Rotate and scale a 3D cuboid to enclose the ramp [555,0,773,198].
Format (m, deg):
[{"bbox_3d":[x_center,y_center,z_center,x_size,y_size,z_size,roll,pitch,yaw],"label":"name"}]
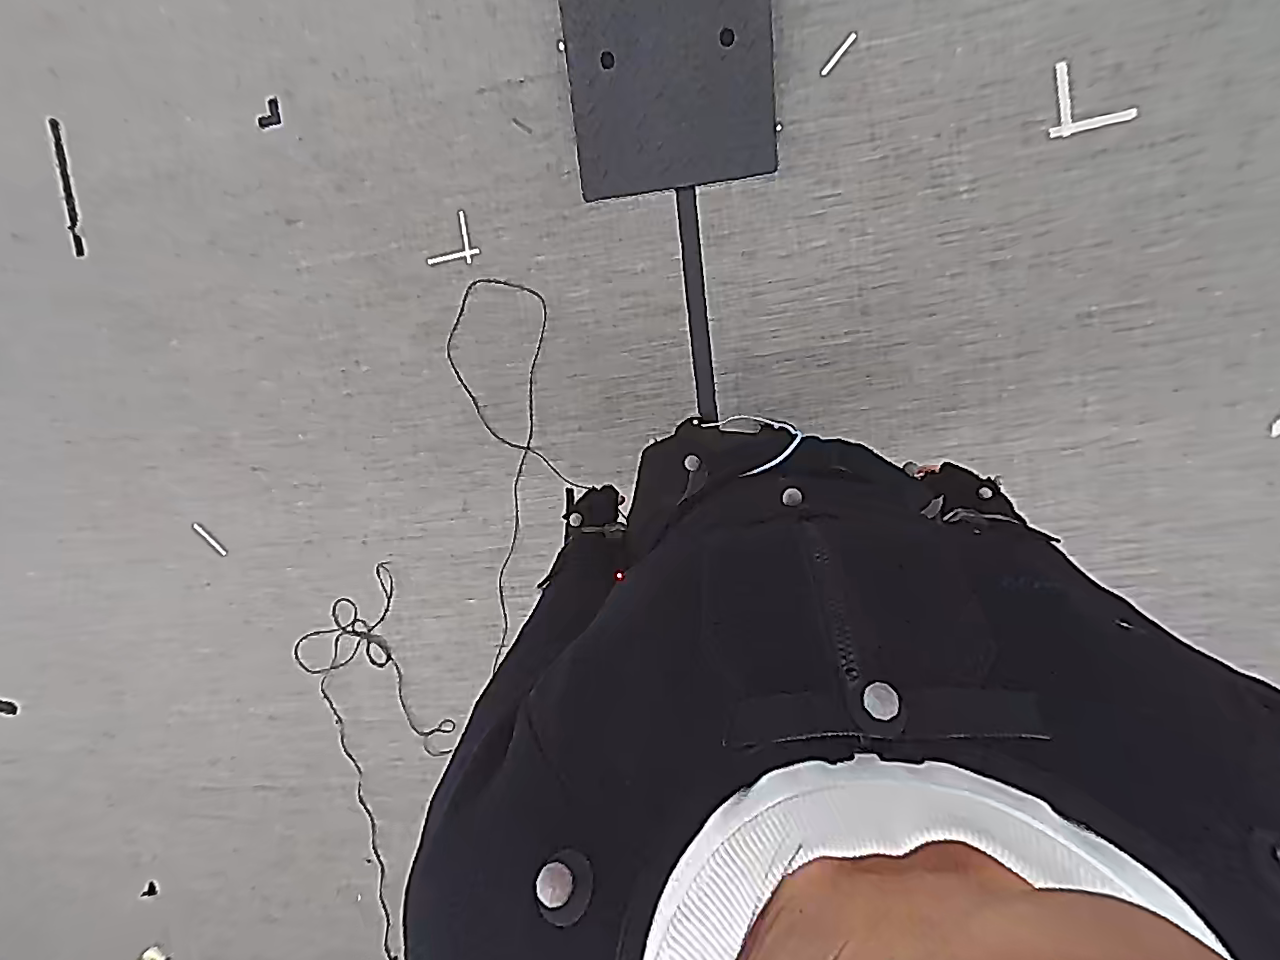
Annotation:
[{"bbox_3d":[0.033,-1.219,1.218,0.509,0.206,0.991,-6,97,9],"label":"ramp"}]
